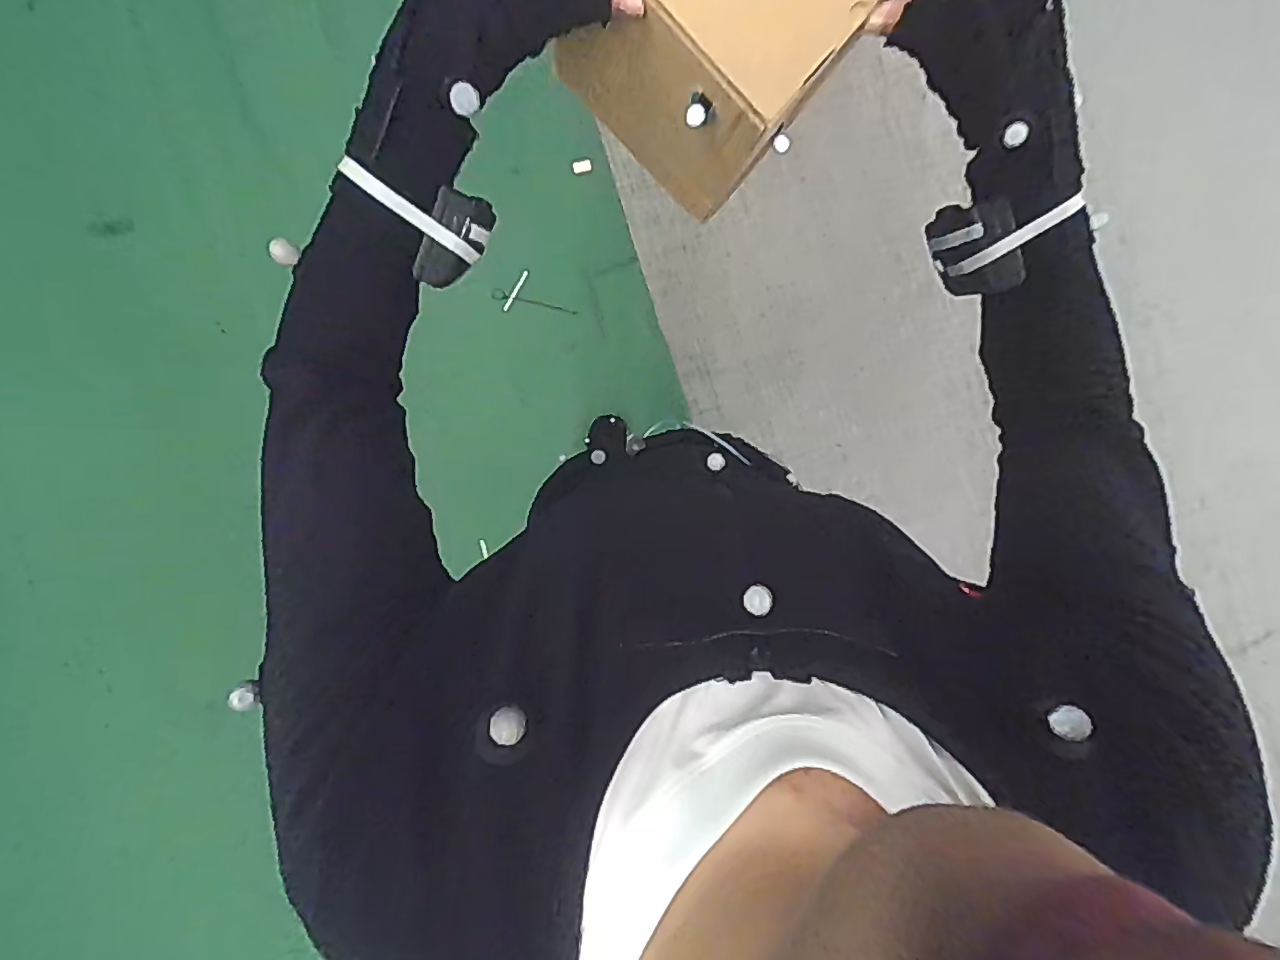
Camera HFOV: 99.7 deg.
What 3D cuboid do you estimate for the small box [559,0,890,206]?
[{"bbox_3d":[0.055,-0.338,0.384,0.179,0.176,0.168,43,90,-11],"label":"small box"}]
